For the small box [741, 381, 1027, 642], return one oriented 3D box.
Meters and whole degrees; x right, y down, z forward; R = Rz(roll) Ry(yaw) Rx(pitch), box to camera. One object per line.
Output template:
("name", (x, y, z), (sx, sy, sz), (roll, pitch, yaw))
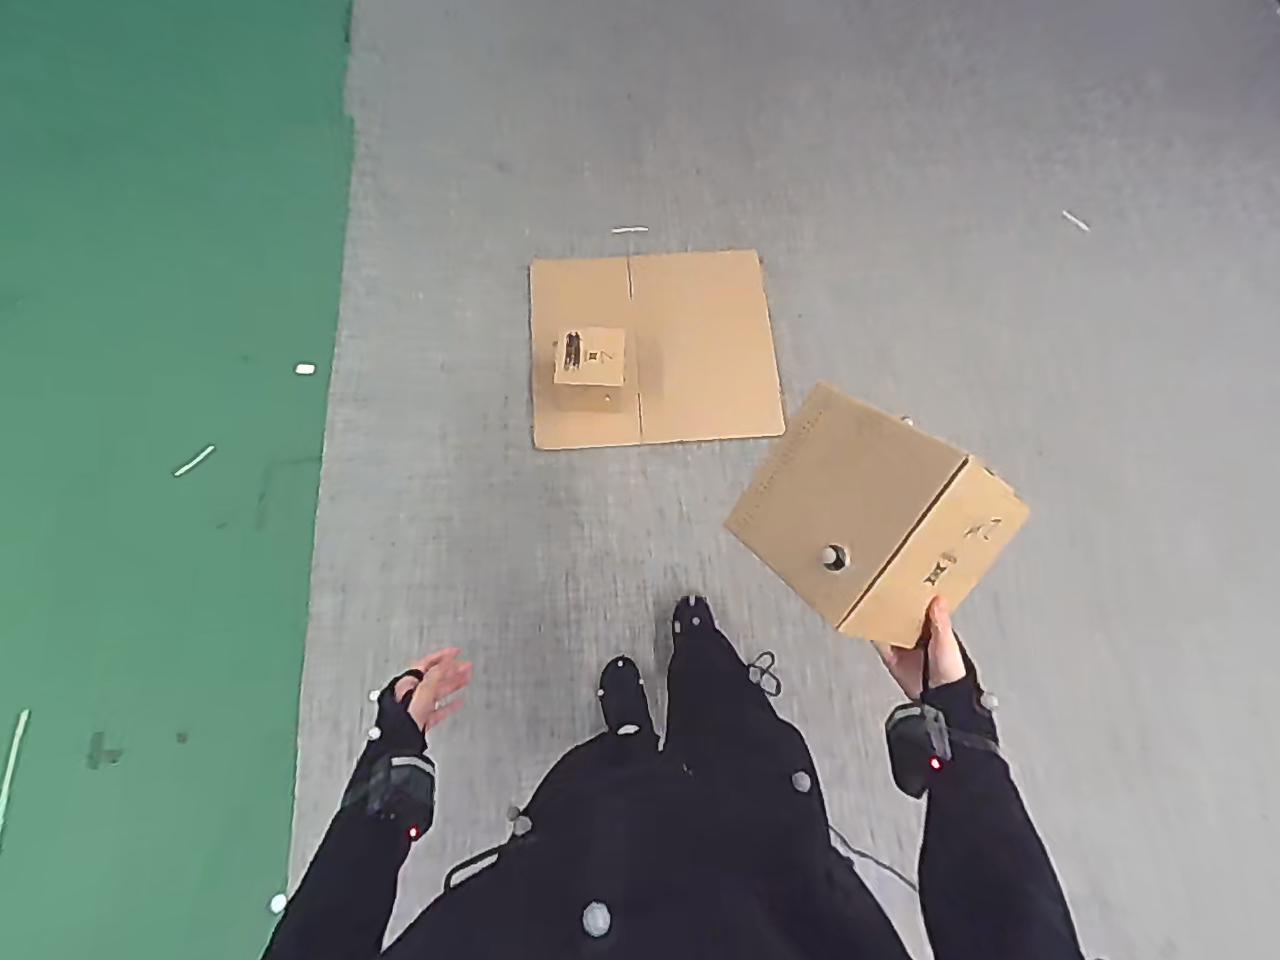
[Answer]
("small box", (0.228, 0.030, 0.542), (0.179, 0.168, 0.176), (-58, 38, 11))
